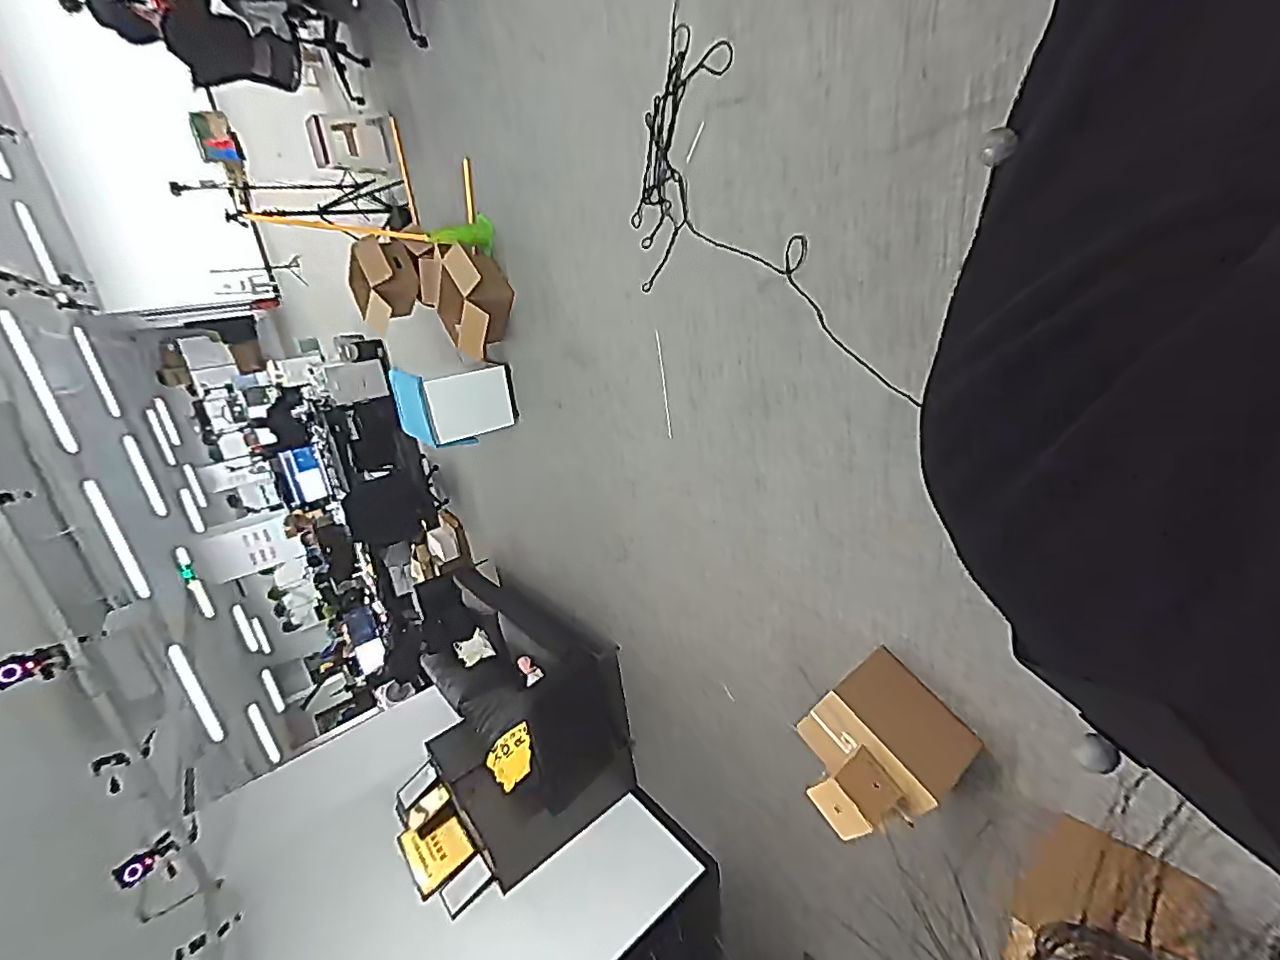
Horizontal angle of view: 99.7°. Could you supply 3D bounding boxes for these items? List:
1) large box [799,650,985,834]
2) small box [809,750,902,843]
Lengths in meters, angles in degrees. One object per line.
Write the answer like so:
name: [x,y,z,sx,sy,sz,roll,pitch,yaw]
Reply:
large box: [0.828,0.863,1.812,0.408,0.320,0.320,48,141,30]
small box: [0.663,0.970,1.662,0.168,0.176,0.179,50,143,26]
